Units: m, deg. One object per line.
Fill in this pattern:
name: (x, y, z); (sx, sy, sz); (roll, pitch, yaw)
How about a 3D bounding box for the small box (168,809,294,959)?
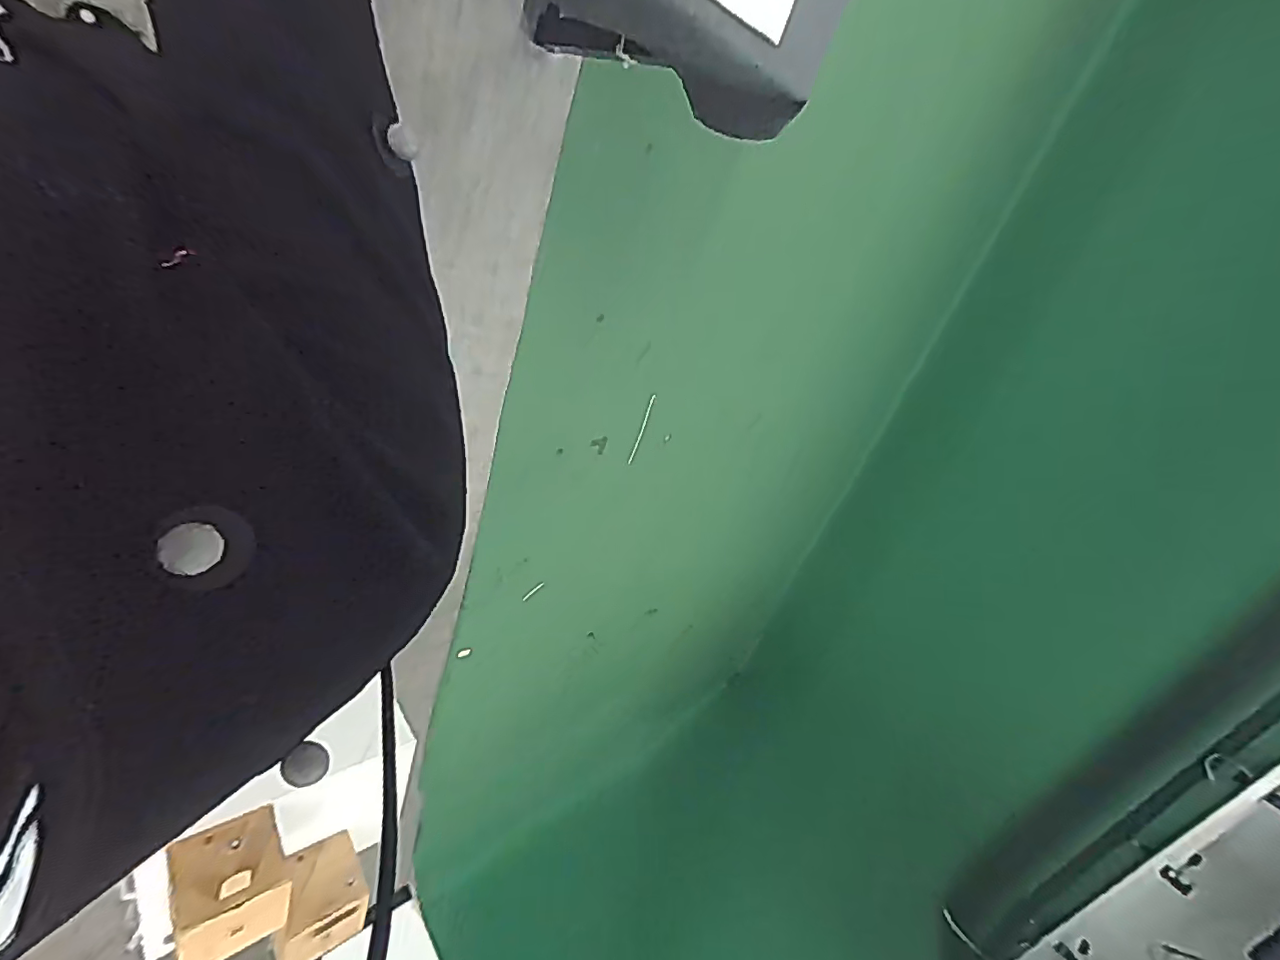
small box: (-0.782, 0.780, 1.031); (0.168, 0.176, 0.179); (-6, 126, -45)
